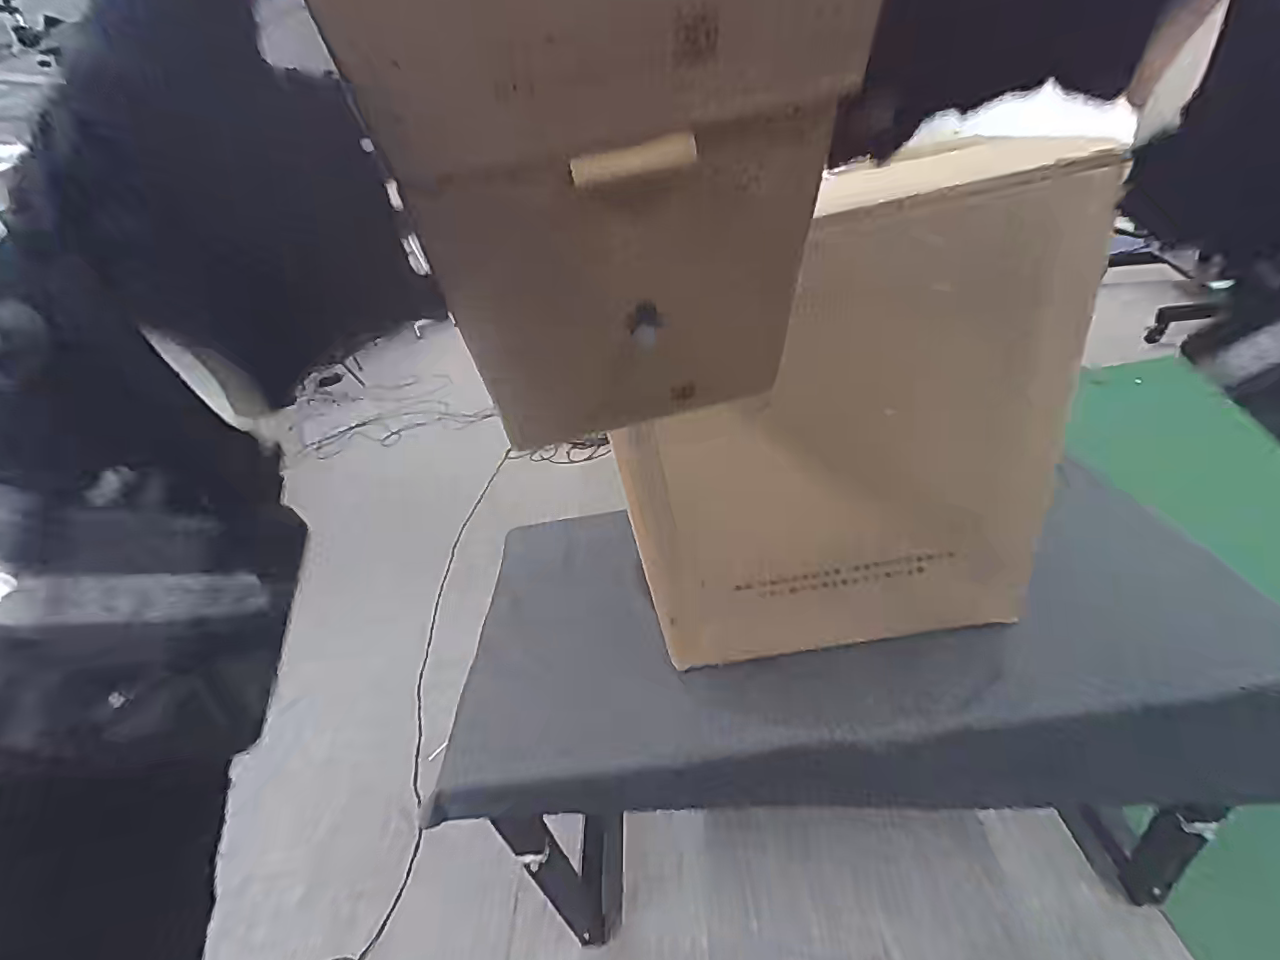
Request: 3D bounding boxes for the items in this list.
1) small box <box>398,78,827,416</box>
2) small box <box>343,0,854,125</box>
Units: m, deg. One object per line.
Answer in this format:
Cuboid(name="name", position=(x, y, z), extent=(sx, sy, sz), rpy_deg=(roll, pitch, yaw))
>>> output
Cuboid(name="small box", position=(-0.020, -0.155, 0.308), extent=(0.168, 0.176, 0.179), rpy_deg=(-14, 59, -5))
Cuboid(name="small box", position=(-0.024, -0.235, 0.166), extent=(0.168, 0.176, 0.179), rpy_deg=(-12, 58, -5))
